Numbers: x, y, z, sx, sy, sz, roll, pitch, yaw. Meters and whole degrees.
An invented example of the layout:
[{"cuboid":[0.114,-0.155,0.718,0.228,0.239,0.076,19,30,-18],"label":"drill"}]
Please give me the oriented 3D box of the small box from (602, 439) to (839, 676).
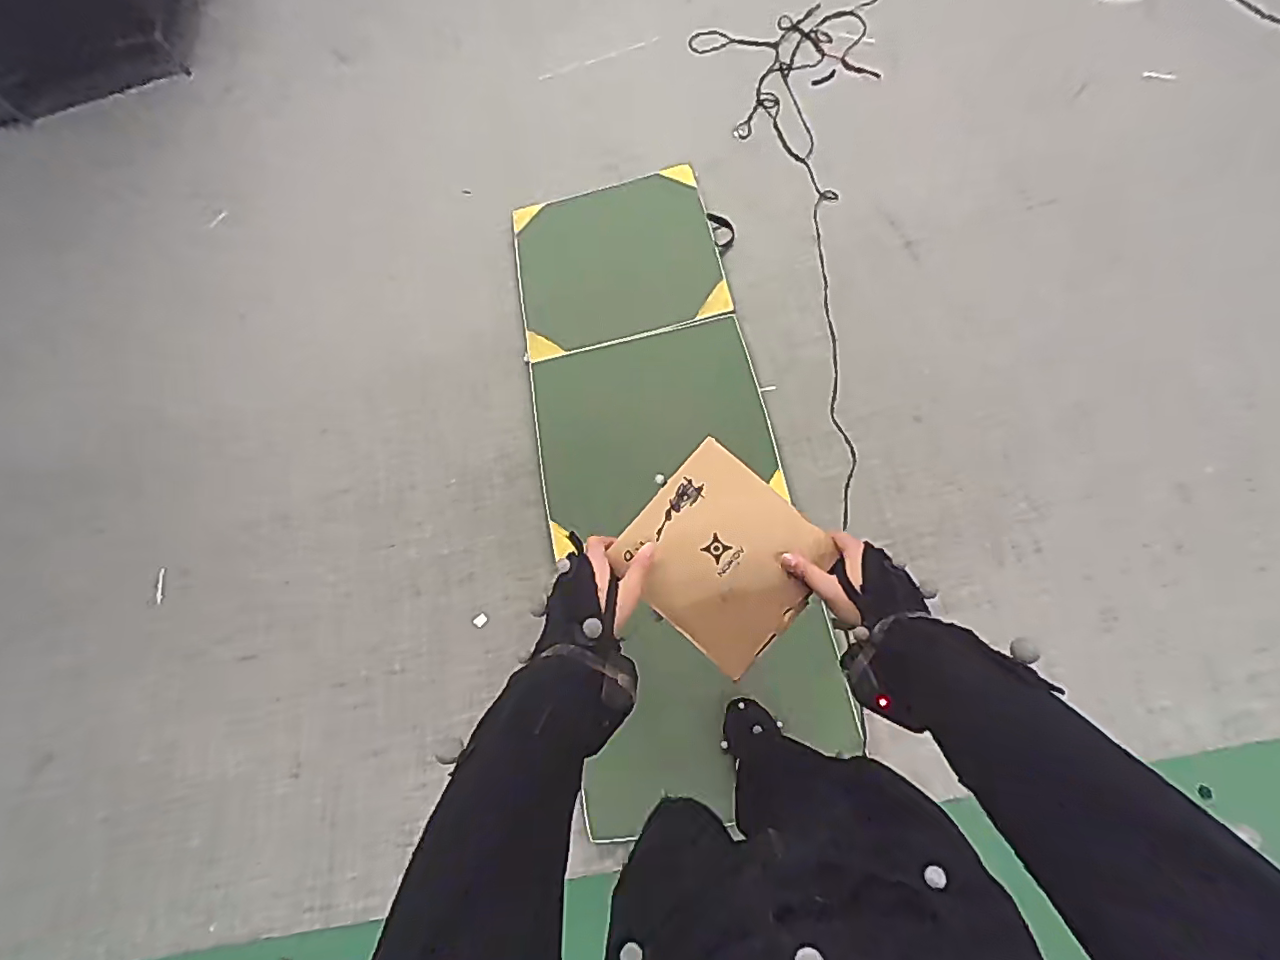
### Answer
[{"cuboid":[0.080,0.083,0.606,0.179,0.176,0.168,42,83,6],"label":"small box"}]
